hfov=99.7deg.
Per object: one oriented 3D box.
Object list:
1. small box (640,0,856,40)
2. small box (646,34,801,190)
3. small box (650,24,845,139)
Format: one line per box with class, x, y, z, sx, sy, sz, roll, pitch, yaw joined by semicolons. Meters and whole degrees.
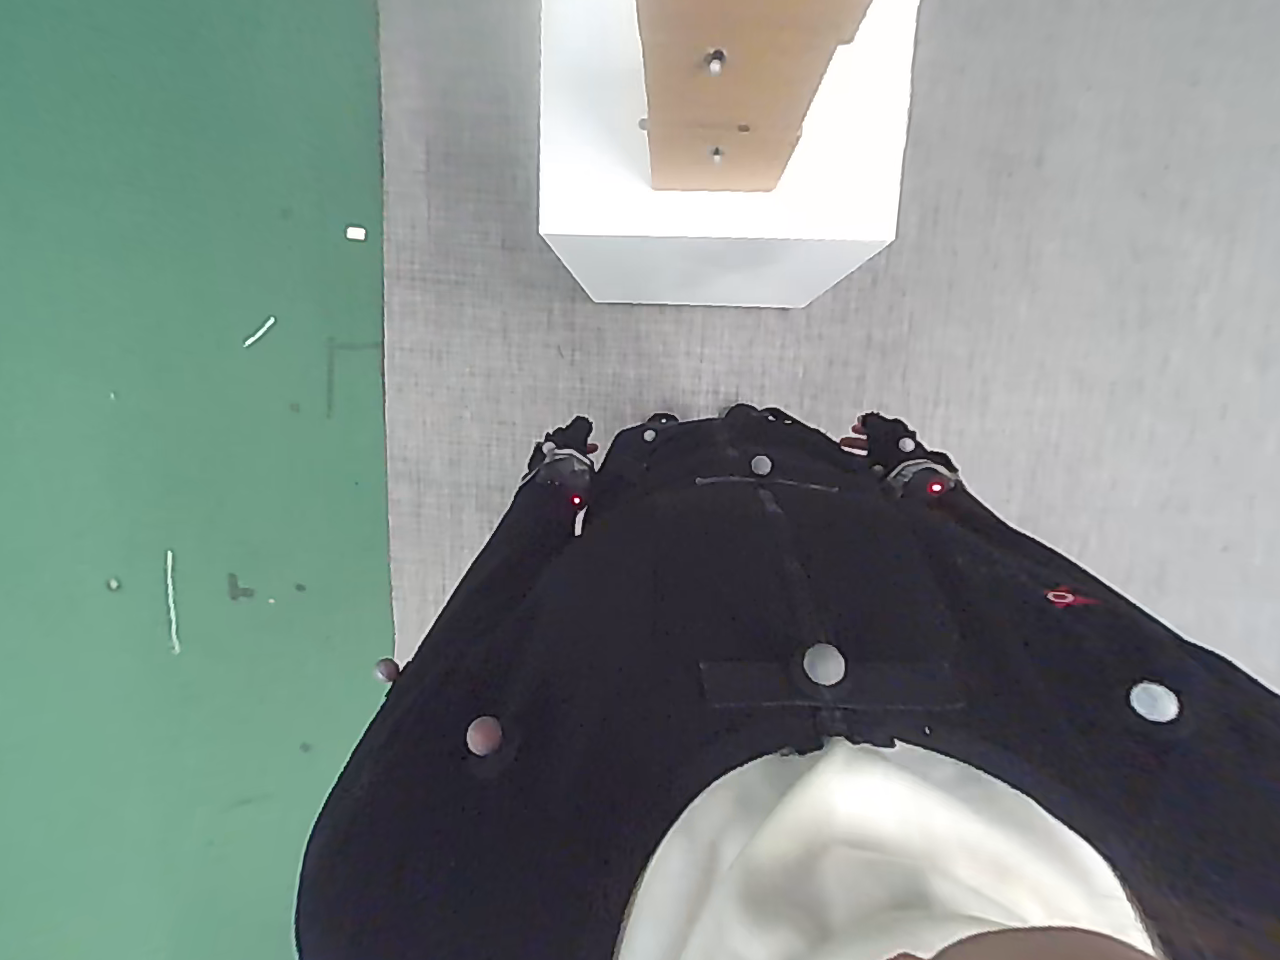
small box;0.086;-0.434;0.356;0.179;0.176;0.168;5;99;3
small box;0.102;-0.483;0.680;0.179;0.176;0.168;3;99;3
small box;0.094;-0.463;0.520;0.168;0.176;0.179;1;99;3
